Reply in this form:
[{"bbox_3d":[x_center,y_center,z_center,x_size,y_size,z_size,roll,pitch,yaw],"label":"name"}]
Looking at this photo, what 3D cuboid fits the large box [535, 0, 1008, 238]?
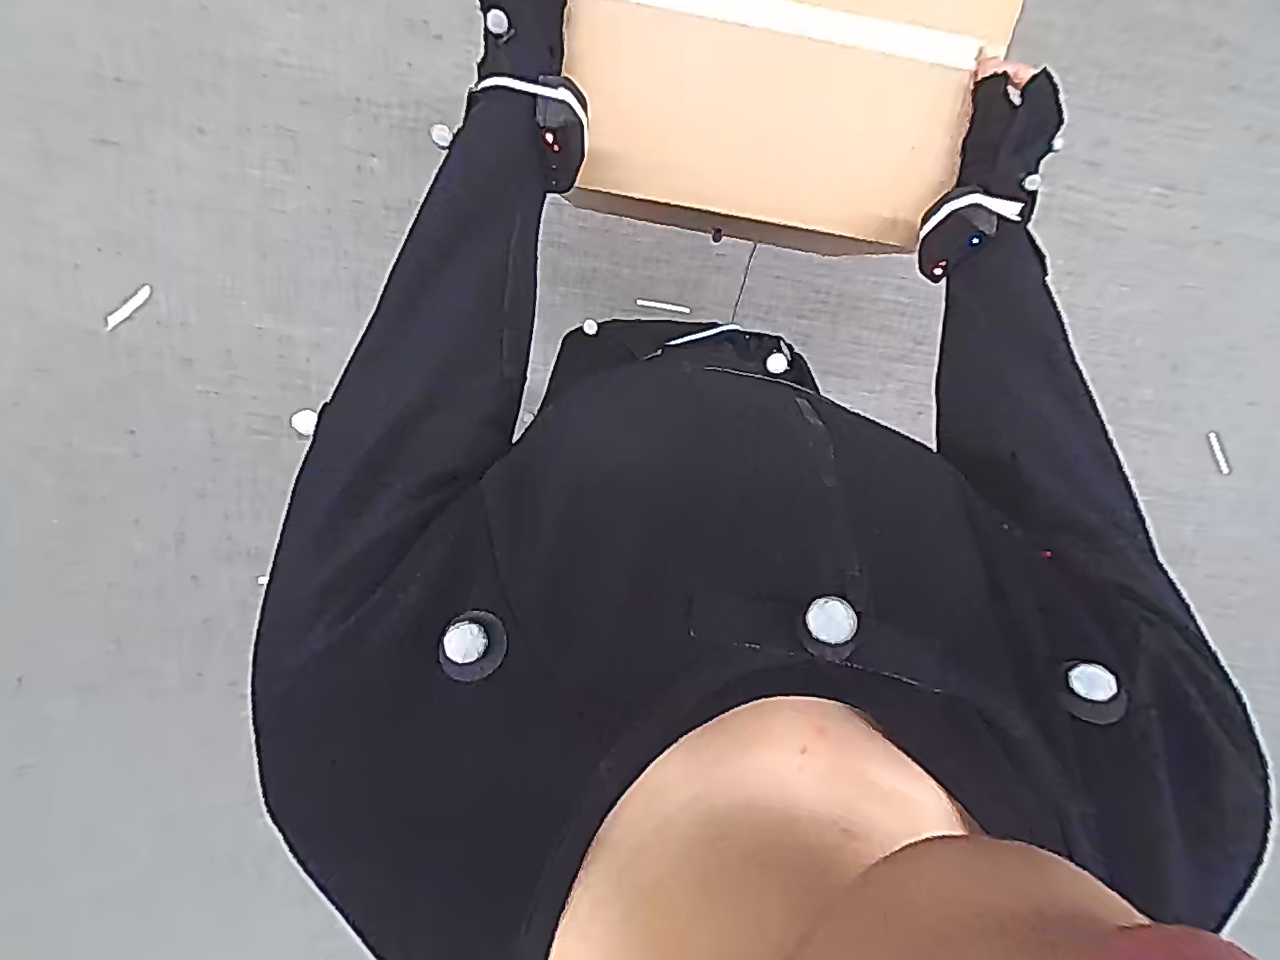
[{"bbox_3d":[0.122,-0.471,0.611,0.408,0.320,0.320,10,111,-3],"label":"large box"}]
